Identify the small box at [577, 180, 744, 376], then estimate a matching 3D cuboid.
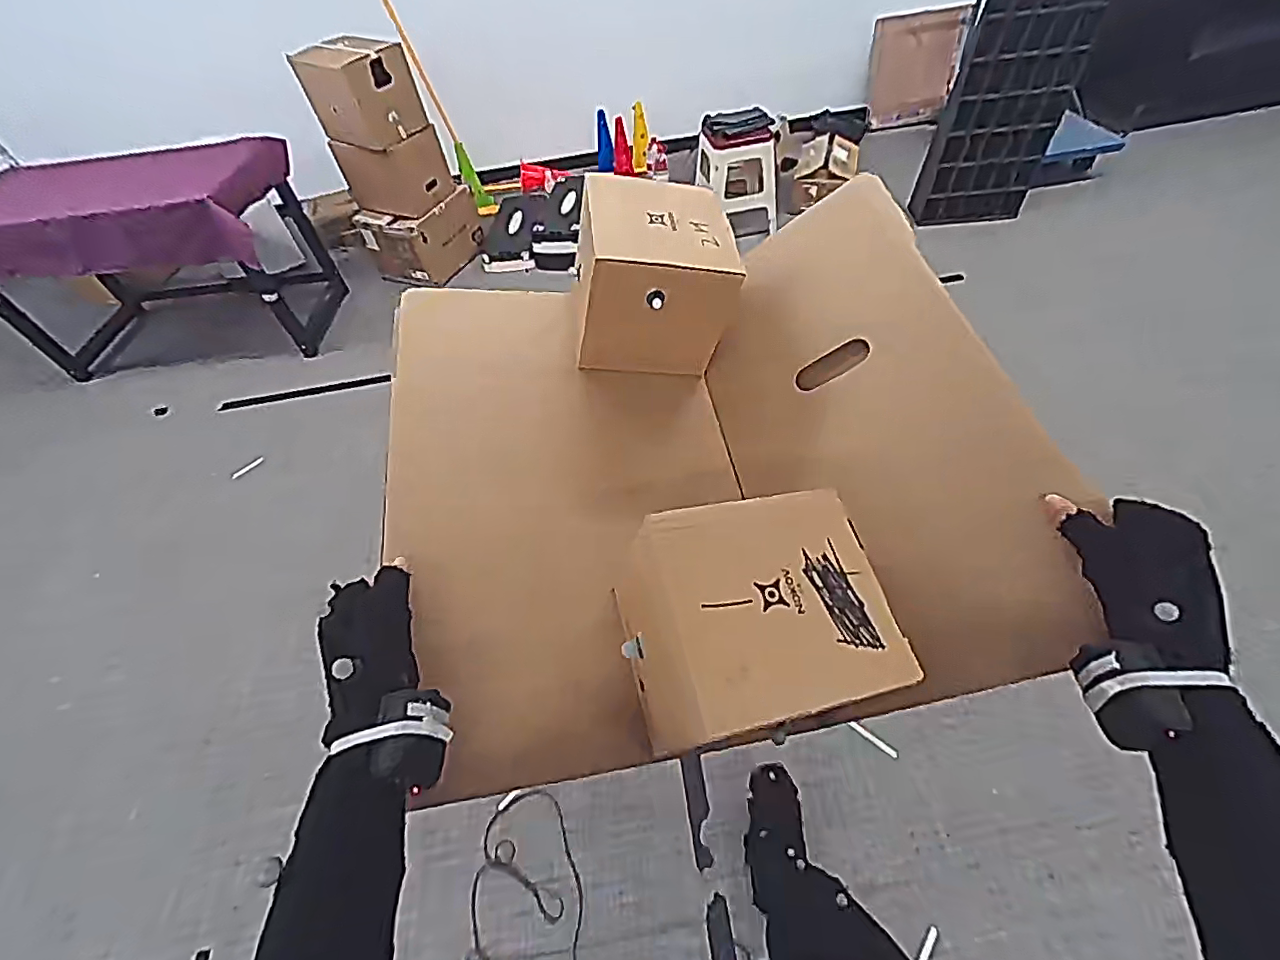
[{"bbox_3d":[0.011,-0.253,0.701,0.179,0.176,0.168,1,58,-13],"label":"small box"}]
